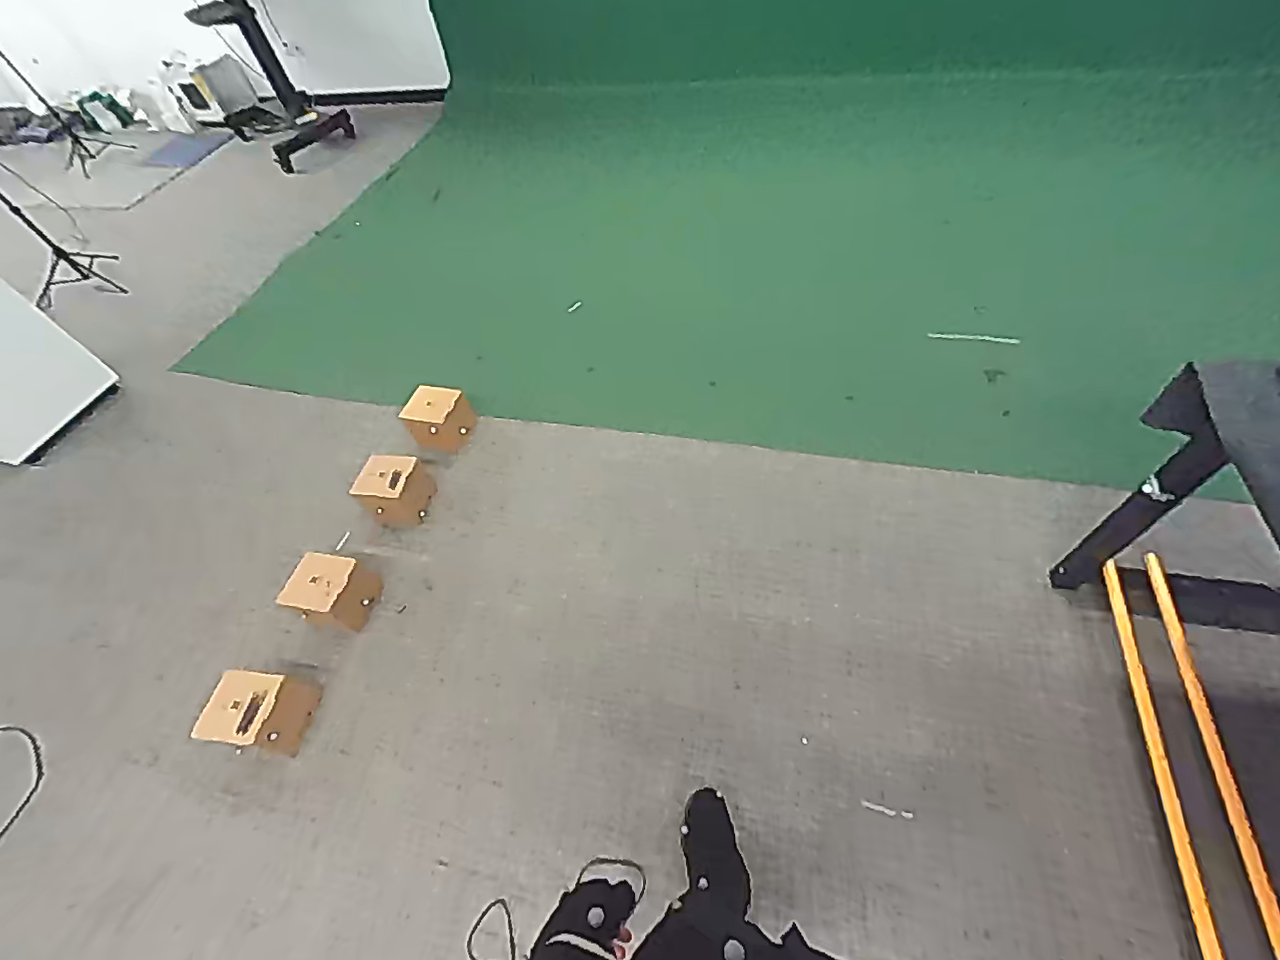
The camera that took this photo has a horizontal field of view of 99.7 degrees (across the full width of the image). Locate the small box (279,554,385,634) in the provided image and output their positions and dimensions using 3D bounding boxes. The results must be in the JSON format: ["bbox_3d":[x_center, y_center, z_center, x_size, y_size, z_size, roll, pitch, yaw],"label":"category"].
[{"bbox_3d":[-0.895,0.338,1.591,0.179,0.176,0.168,7,55,11],"label":"small box"}]

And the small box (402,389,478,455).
[{"bbox_3d":[-0.729,-0.211,1.991,0.179,0.176,0.168,9,55,13],"label":"small box"}]

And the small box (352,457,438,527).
[{"bbox_3d":[-0.807,0.043,1.806,0.179,0.176,0.168,4,54,11],"label":"small box"}]
